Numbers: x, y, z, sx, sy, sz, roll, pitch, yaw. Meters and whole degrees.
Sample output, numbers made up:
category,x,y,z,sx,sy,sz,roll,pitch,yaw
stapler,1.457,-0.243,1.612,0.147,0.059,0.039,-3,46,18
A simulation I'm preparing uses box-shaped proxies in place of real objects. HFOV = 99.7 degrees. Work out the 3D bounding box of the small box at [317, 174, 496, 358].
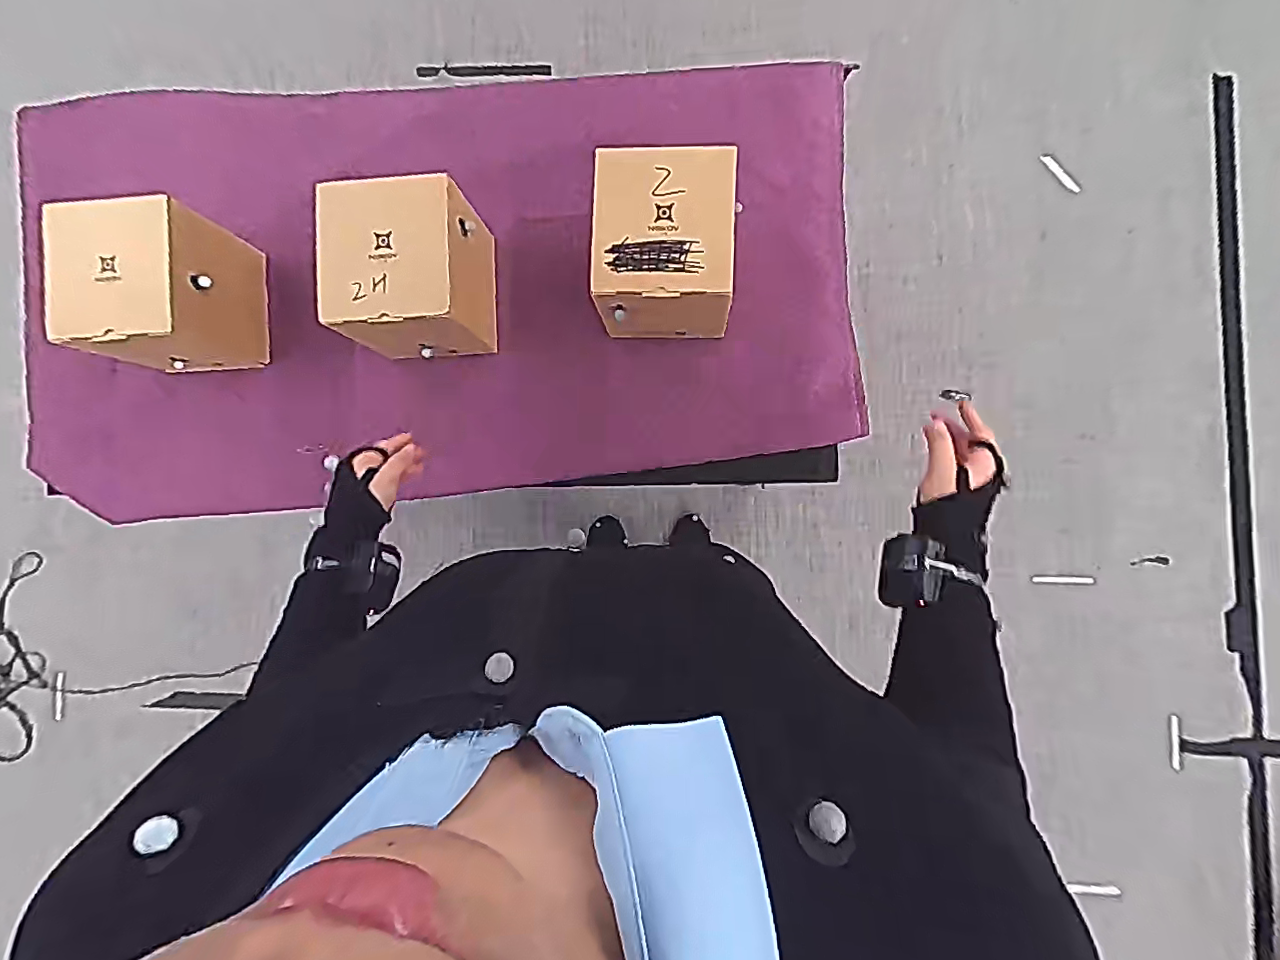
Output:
category,x,y,z,sx,sy,sz,roll,pitch,yaw
small box,-0.300,-0.273,0.724,0.168,0.176,0.179,-2,89,4

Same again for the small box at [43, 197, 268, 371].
category,x,y,z,sx,sy,sz,roll,pitch,yaw
small box,-0.652,-0.259,0.748,0.168,0.176,0.179,-3,89,3
